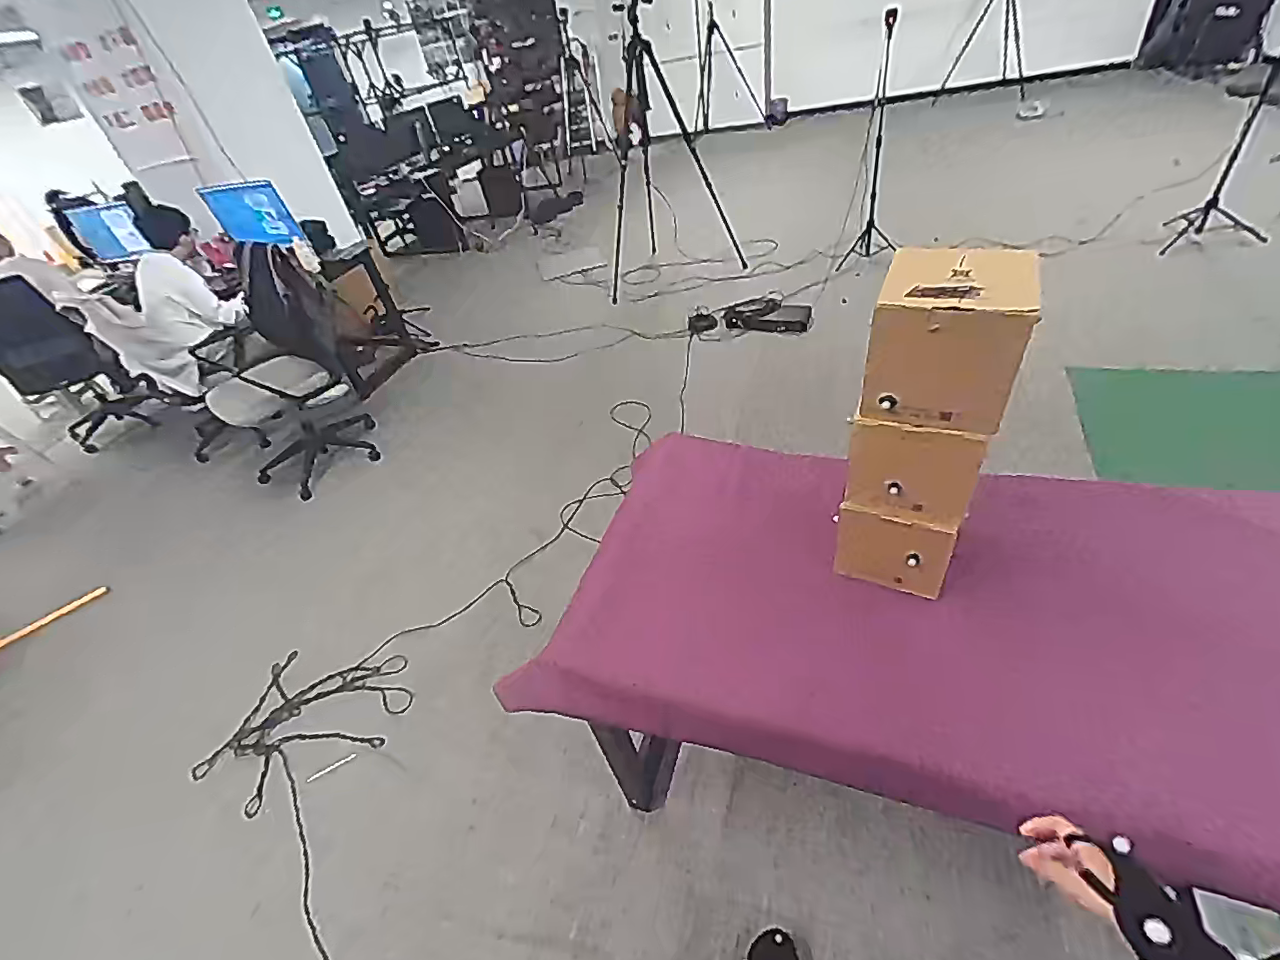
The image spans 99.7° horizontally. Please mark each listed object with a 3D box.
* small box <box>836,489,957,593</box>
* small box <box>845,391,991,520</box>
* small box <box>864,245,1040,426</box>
[{"bbox_3d":[0.438,0.061,0.913,0.168,0.176,0.179,15,47,28],"label":"small box"},{"bbox_3d":[0.416,-0.067,0.815,0.168,0.176,0.179,12,47,25],"label":"small box"},{"bbox_3d":[0.401,-0.192,0.710,0.168,0.176,0.179,13,47,25],"label":"small box"}]
